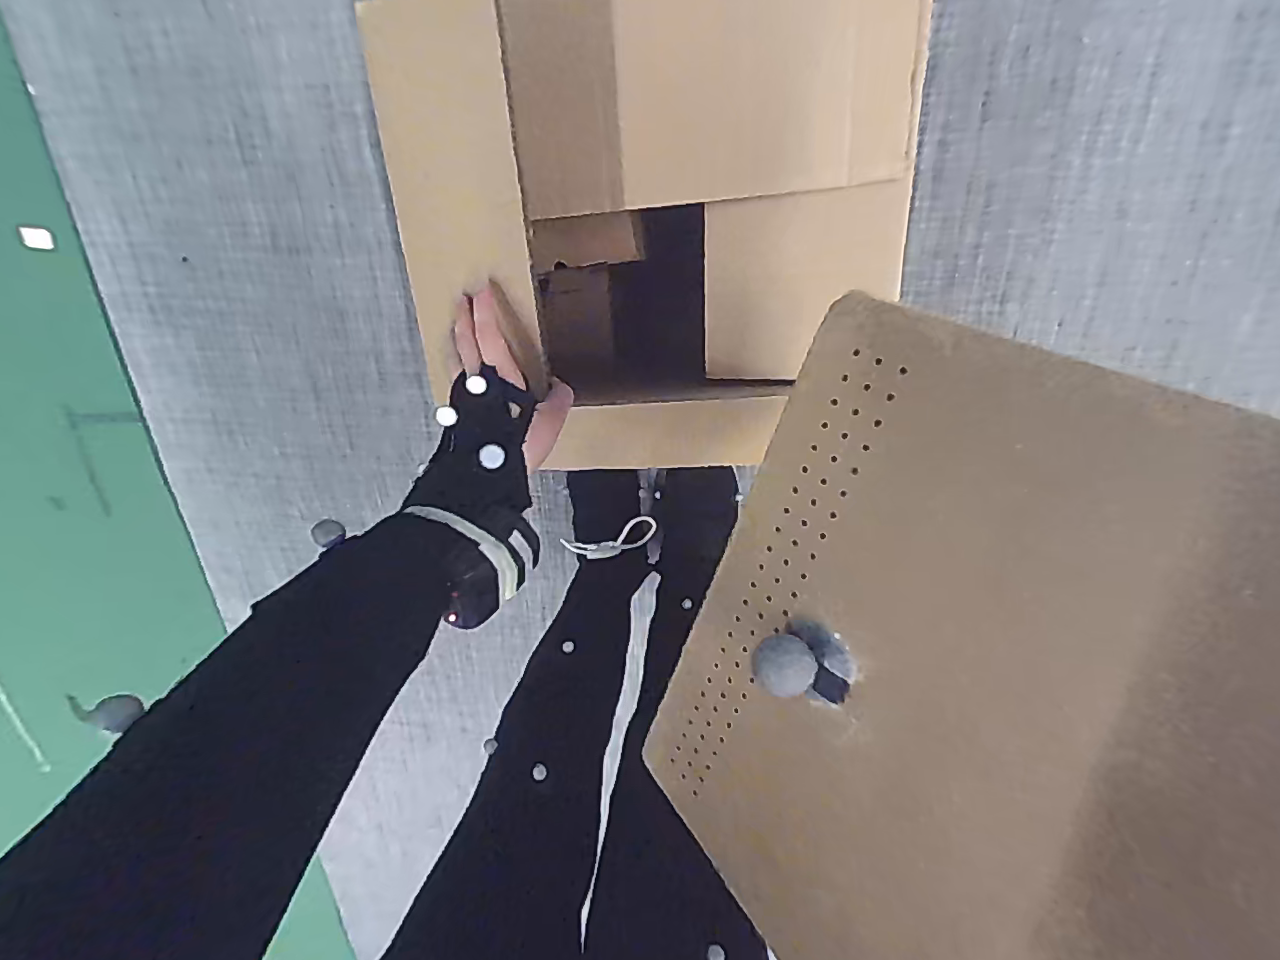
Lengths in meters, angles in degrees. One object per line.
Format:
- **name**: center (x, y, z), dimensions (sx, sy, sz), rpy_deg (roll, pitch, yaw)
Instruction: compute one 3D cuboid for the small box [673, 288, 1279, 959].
- **small box**: center (0.134, 0.061, 0.169), dimensions (0.168, 0.176, 0.179), rpy_deg (-2, 121, -38)
